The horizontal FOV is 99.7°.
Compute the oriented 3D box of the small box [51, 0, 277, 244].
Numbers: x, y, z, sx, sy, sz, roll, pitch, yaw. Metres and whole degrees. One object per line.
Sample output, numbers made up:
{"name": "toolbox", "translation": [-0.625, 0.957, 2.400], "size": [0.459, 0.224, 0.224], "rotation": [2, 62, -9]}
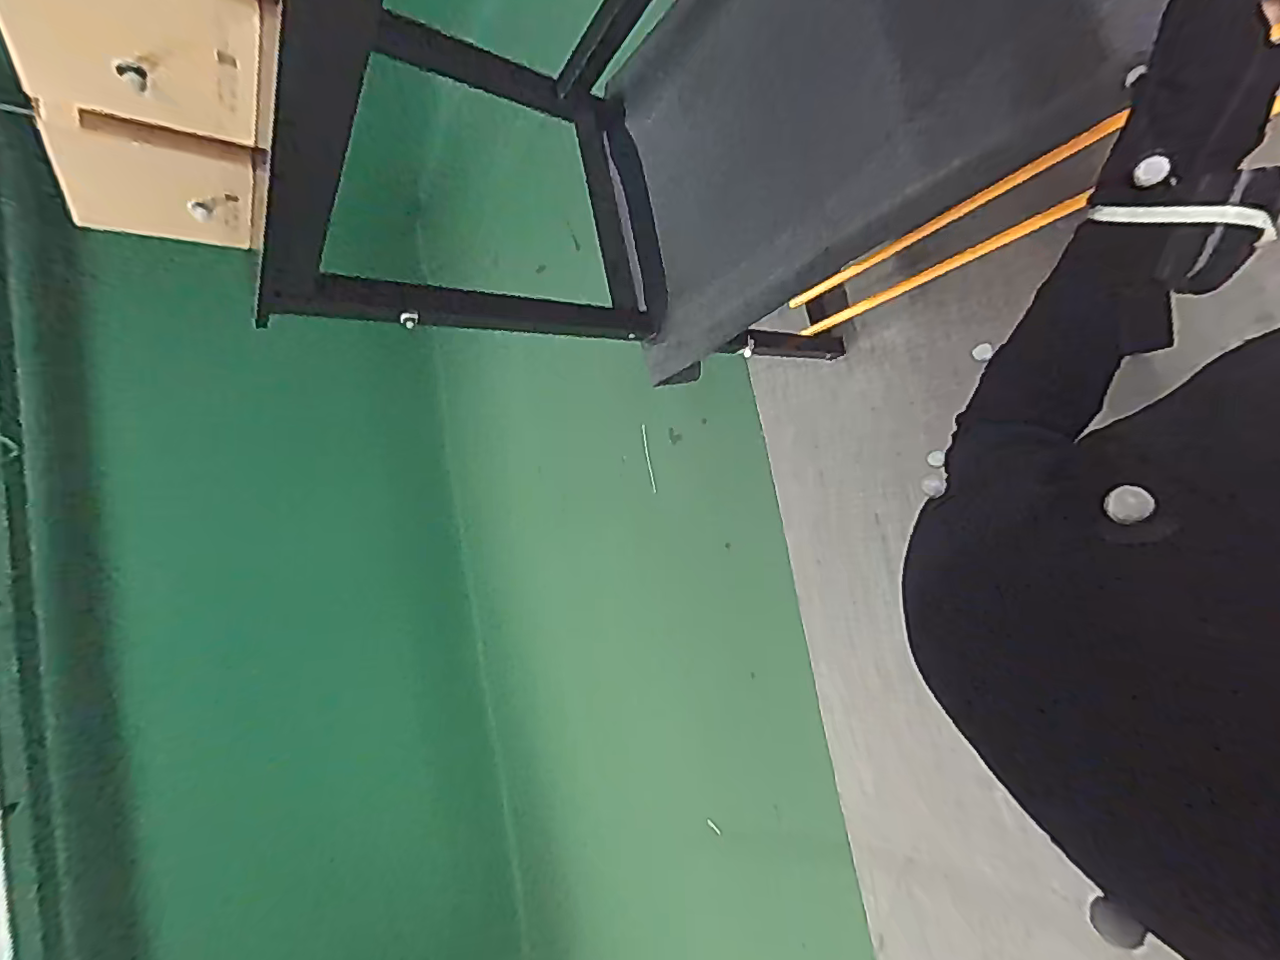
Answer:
{"name": "small box", "translation": [-0.543, -0.406, 0.634], "size": [0.168, 0.176, 0.179], "rotation": [-21, 80, 52]}
